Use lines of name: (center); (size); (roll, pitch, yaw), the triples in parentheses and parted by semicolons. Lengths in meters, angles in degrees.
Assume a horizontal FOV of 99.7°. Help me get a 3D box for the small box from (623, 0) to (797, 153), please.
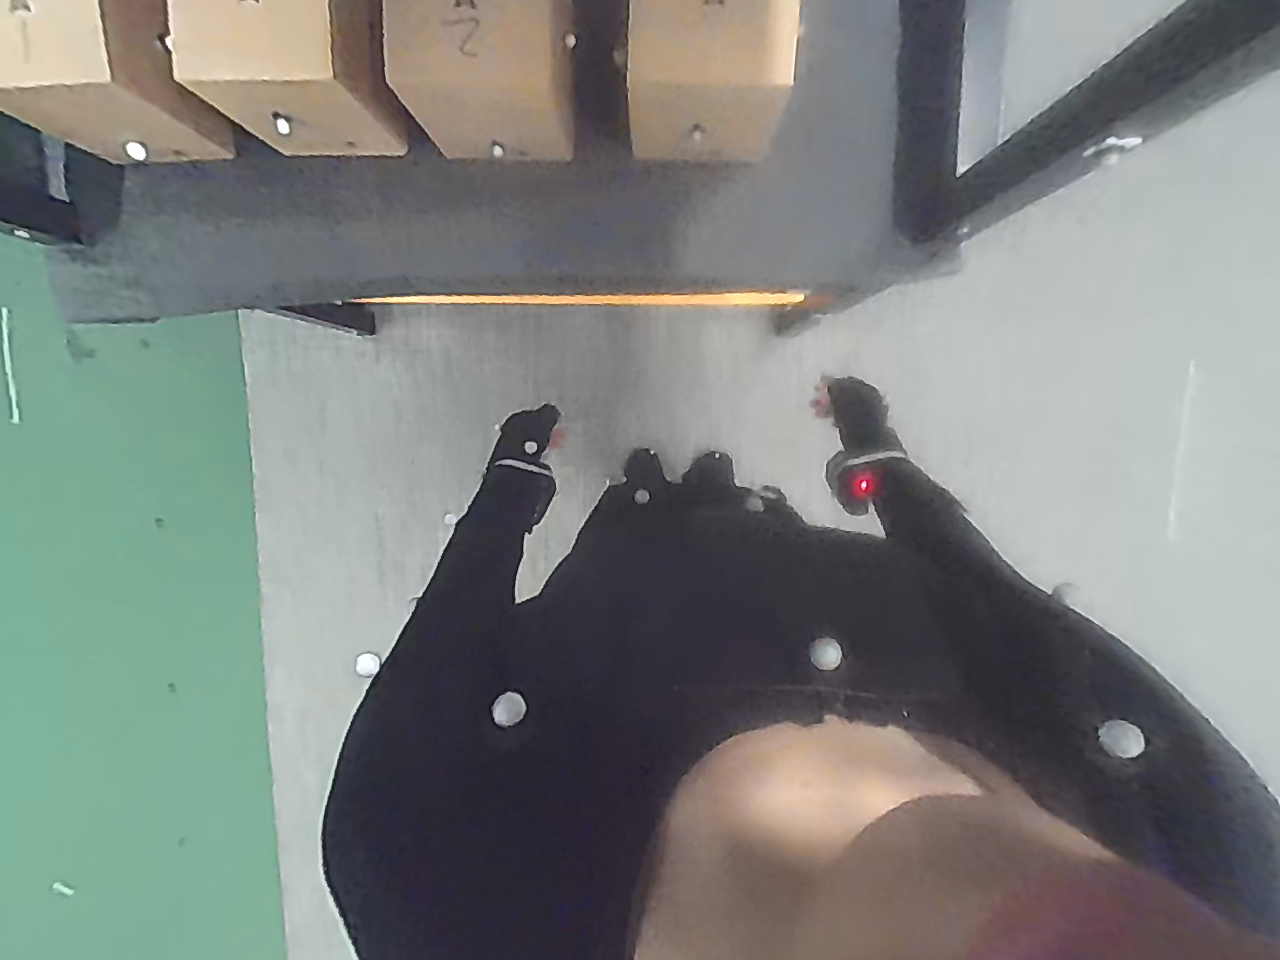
small box: (0.073, -0.488, 0.593); (0.168, 0.176, 0.179); (3, 97, 1)

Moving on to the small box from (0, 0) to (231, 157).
small box: (-0.609, -0.497, 0.610); (0.168, 0.176, 0.179); (-2, 97, 2)

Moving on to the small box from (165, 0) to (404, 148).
small box: (-0.382, -0.500, 0.607); (0.168, 0.176, 0.179); (1, 96, 1)
